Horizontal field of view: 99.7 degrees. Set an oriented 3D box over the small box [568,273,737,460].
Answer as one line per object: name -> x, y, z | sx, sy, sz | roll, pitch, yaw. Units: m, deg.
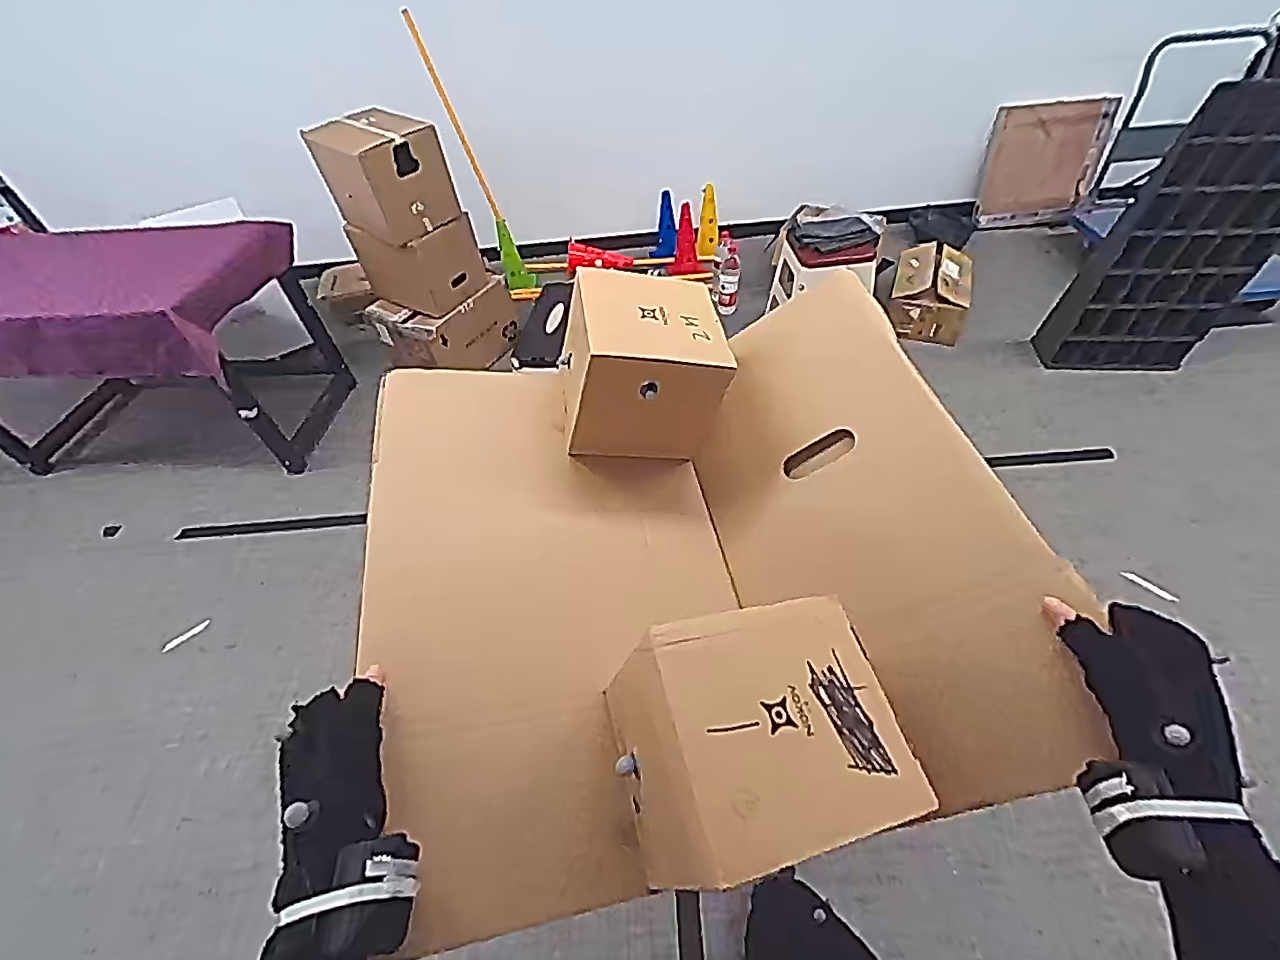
small box -> 0.001, -0.141, 0.708 | 0.179, 0.176, 0.168 | 3, 53, -16
